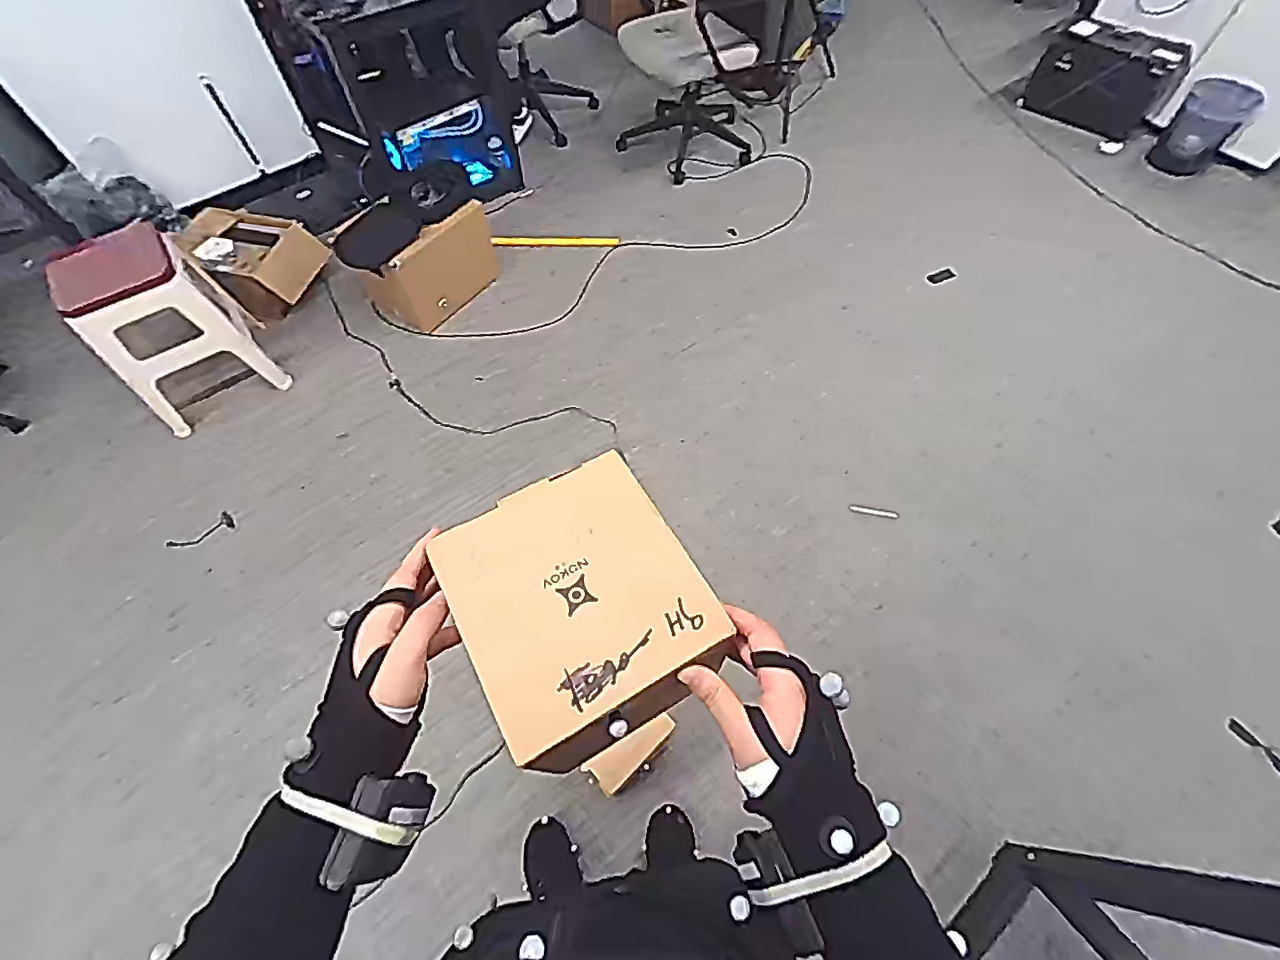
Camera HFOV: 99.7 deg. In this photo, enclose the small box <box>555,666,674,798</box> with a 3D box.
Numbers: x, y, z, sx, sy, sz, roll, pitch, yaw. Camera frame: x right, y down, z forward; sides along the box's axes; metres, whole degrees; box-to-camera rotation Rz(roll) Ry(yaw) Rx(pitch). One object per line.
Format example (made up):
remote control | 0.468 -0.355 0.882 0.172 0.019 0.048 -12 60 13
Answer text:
small box | -0.048 0.518 1.105 0.179 0.176 0.168 -40 68 -21
